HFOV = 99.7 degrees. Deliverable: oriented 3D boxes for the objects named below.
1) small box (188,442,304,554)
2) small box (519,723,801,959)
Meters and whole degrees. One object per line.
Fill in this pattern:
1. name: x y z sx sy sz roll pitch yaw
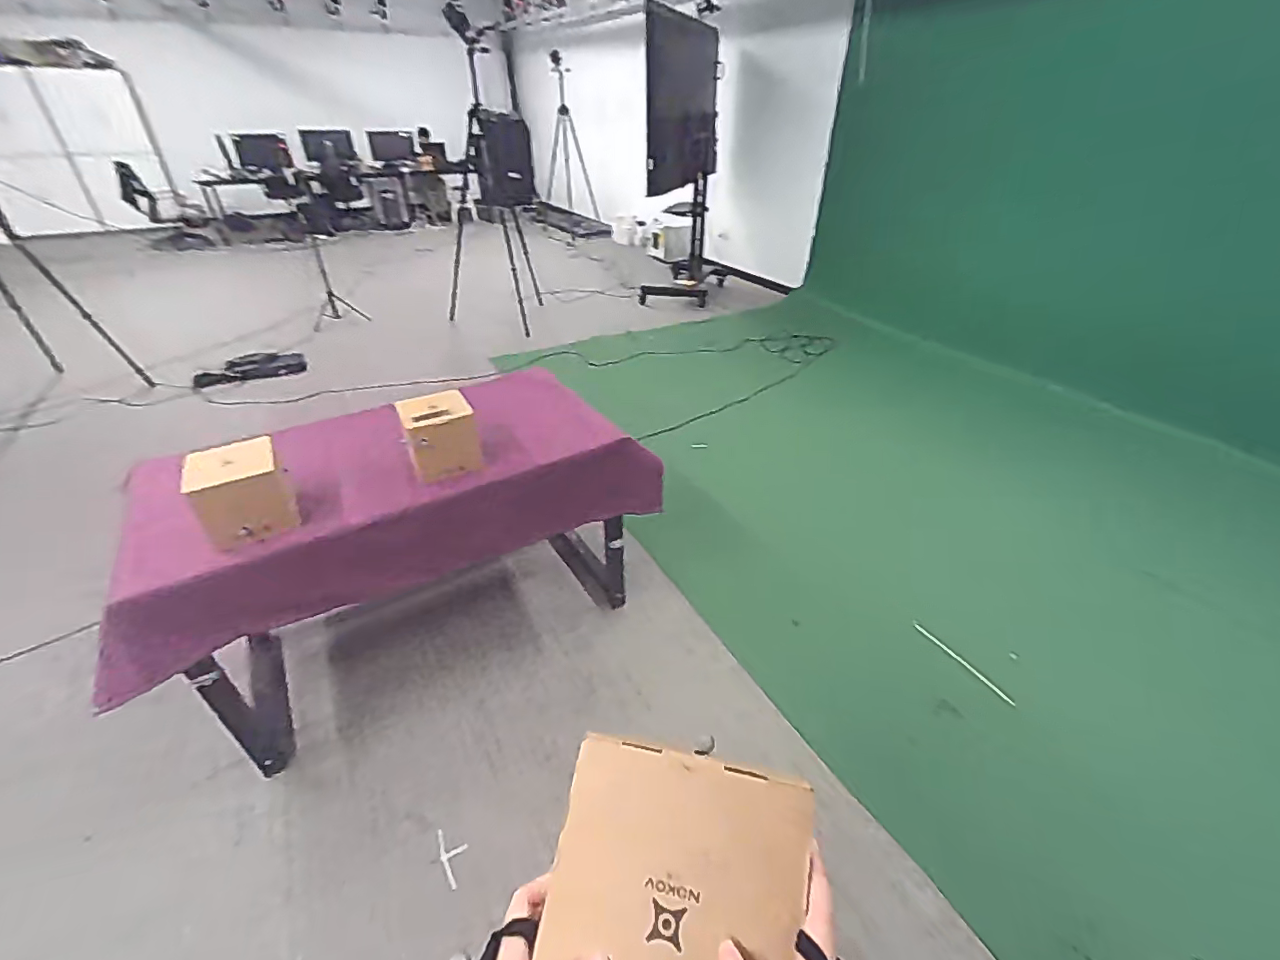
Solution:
1. small box: -0.894 0.039 1.238 0.168 0.176 0.179 -20 39 -25
2. small box: 0.027 0.304 0.422 0.168 0.176 0.179 6 65 15
